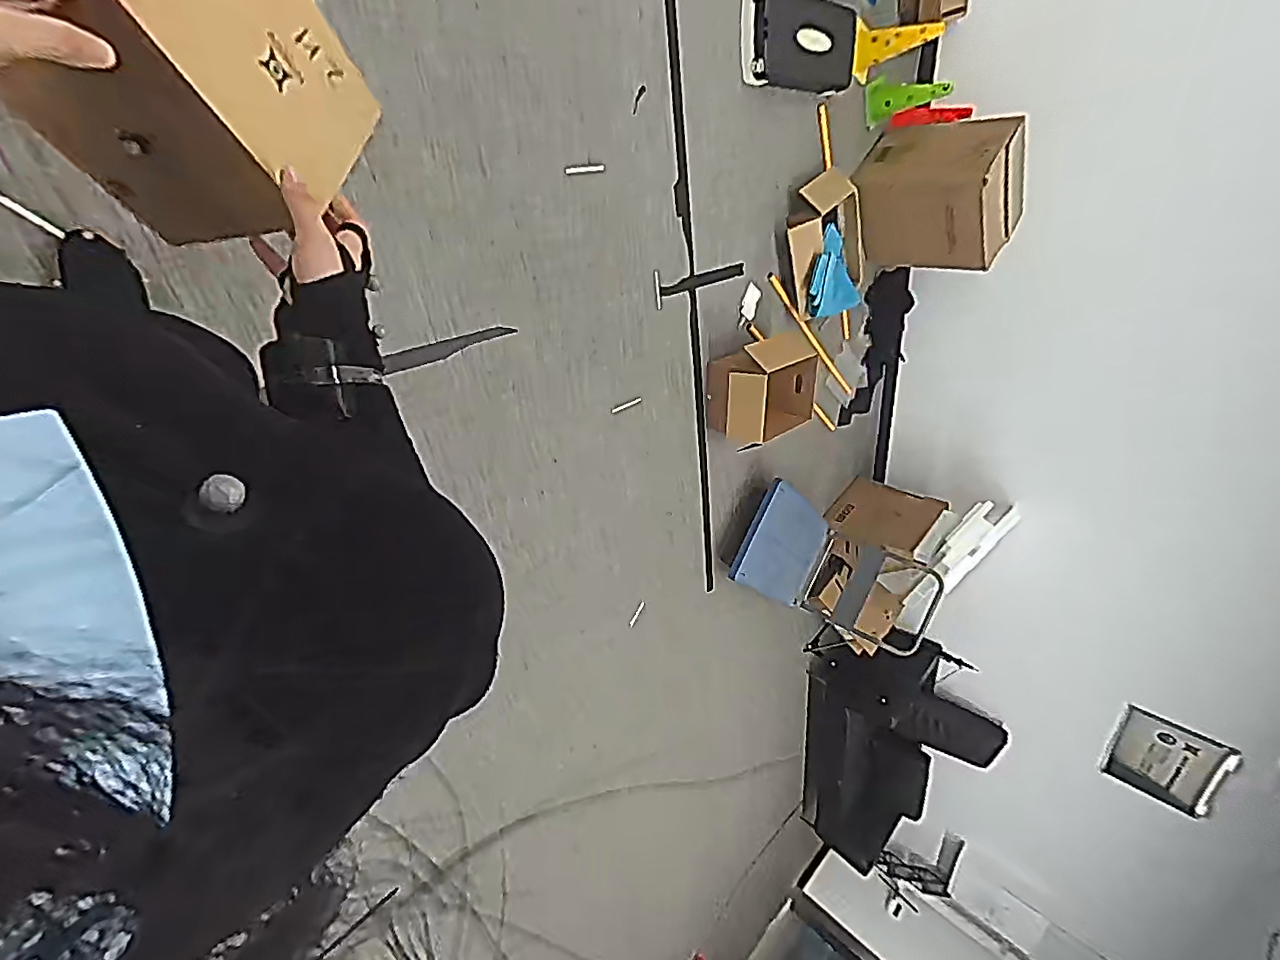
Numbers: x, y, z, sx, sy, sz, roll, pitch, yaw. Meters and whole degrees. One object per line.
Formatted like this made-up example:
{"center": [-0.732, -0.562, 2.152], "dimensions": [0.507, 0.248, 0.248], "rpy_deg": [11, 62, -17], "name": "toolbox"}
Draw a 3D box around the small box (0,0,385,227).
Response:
{"center": [-0.360, -0.337, 0.448], "dimensions": [0.168, 0.176, 0.179], "rpy_deg": [65, 30, -60], "name": "small box"}
